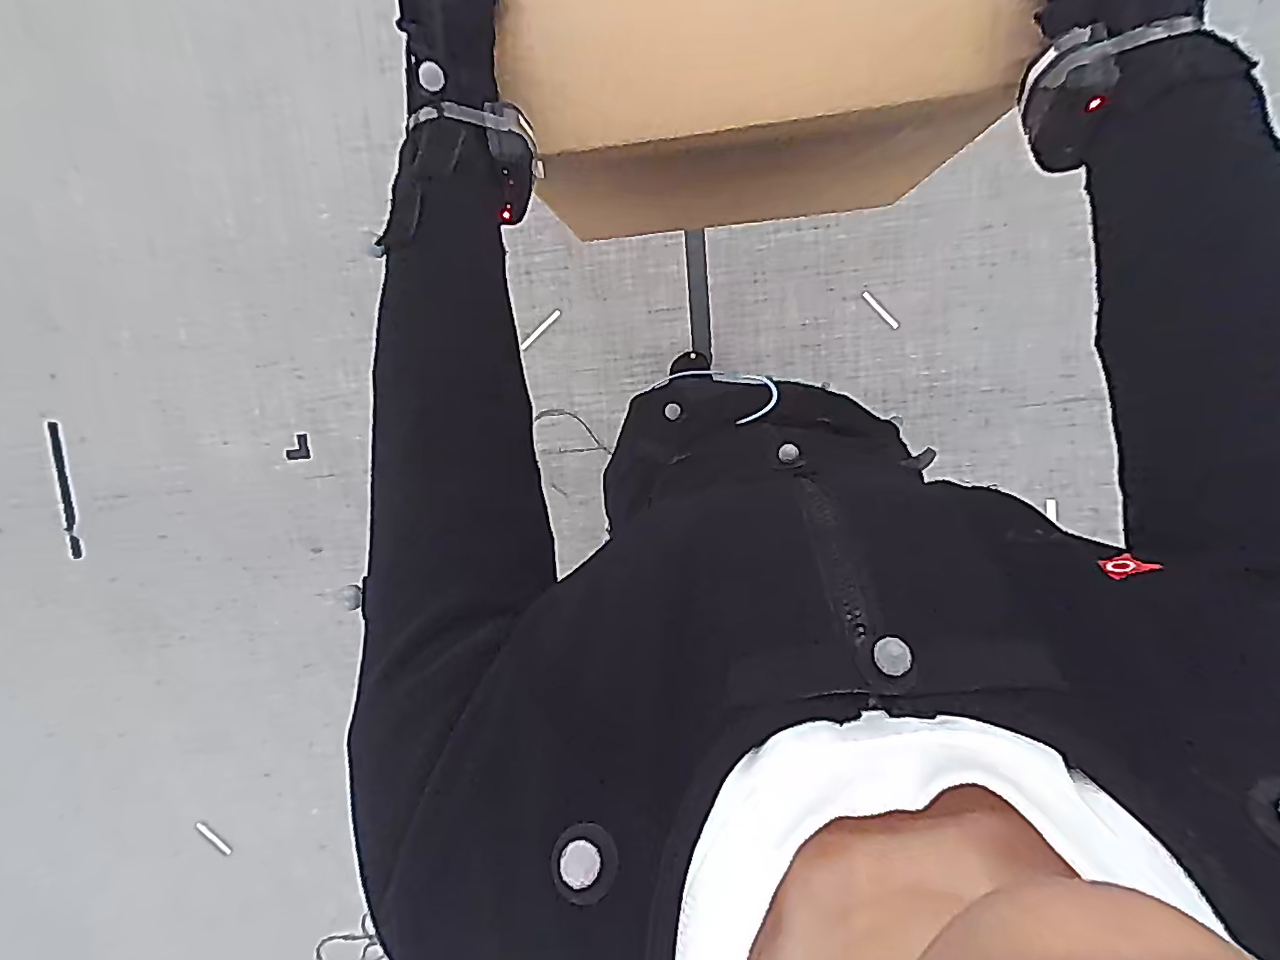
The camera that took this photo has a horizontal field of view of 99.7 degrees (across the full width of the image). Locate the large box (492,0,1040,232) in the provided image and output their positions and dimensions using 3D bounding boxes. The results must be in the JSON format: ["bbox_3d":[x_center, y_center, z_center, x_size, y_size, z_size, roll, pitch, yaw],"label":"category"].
[{"bbox_3d":[0.087,-0.463,0.528,0.408,0.320,0.320,-5,103,6],"label":"large box"}]
